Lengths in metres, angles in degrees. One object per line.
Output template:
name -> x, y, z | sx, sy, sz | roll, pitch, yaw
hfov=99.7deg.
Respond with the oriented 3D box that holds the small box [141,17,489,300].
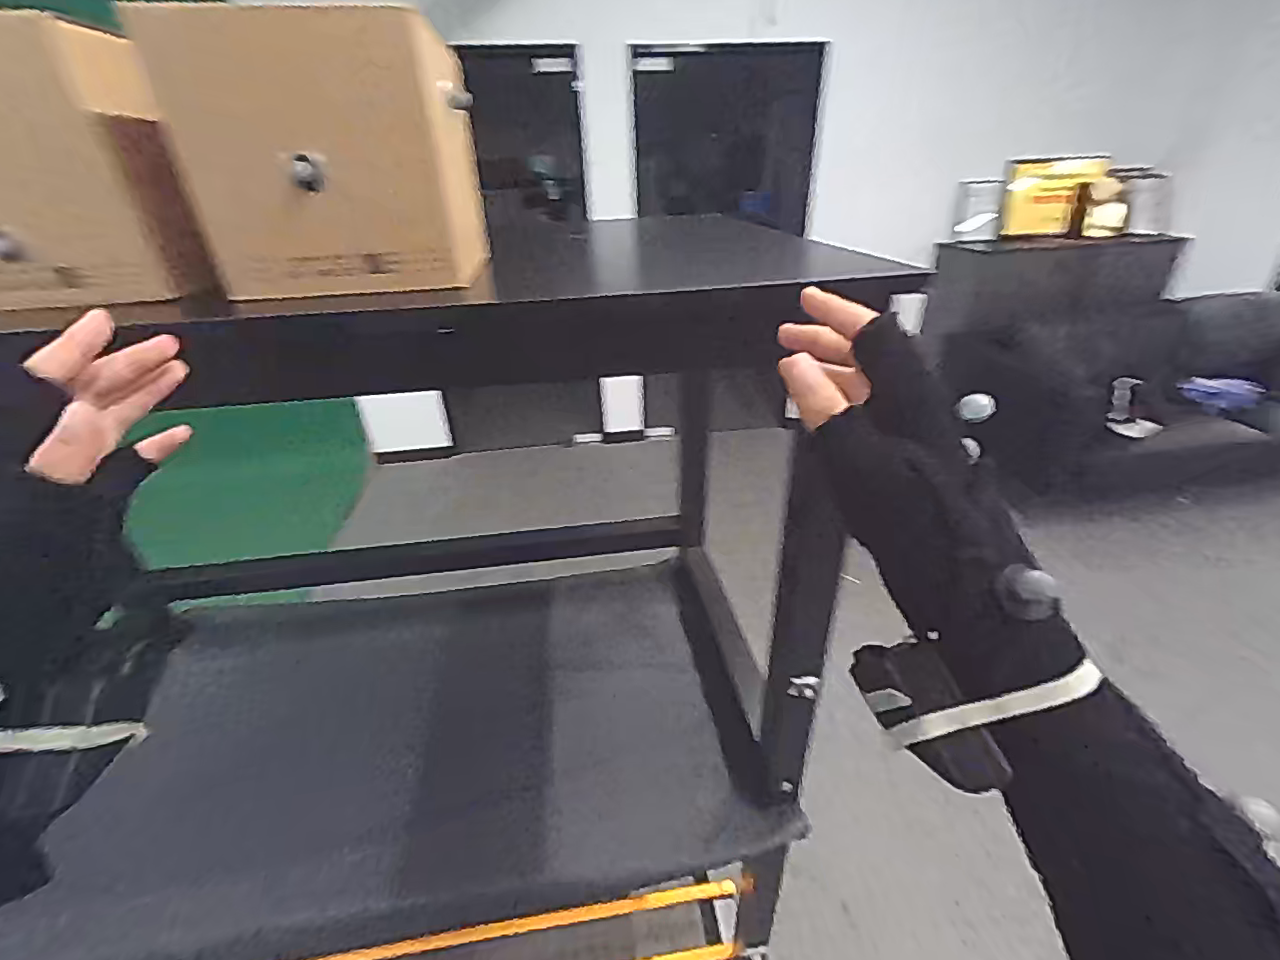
small box -> -0.223, -0.245, 0.437 | 0.168, 0.176, 0.179 | -5, 30, -6
